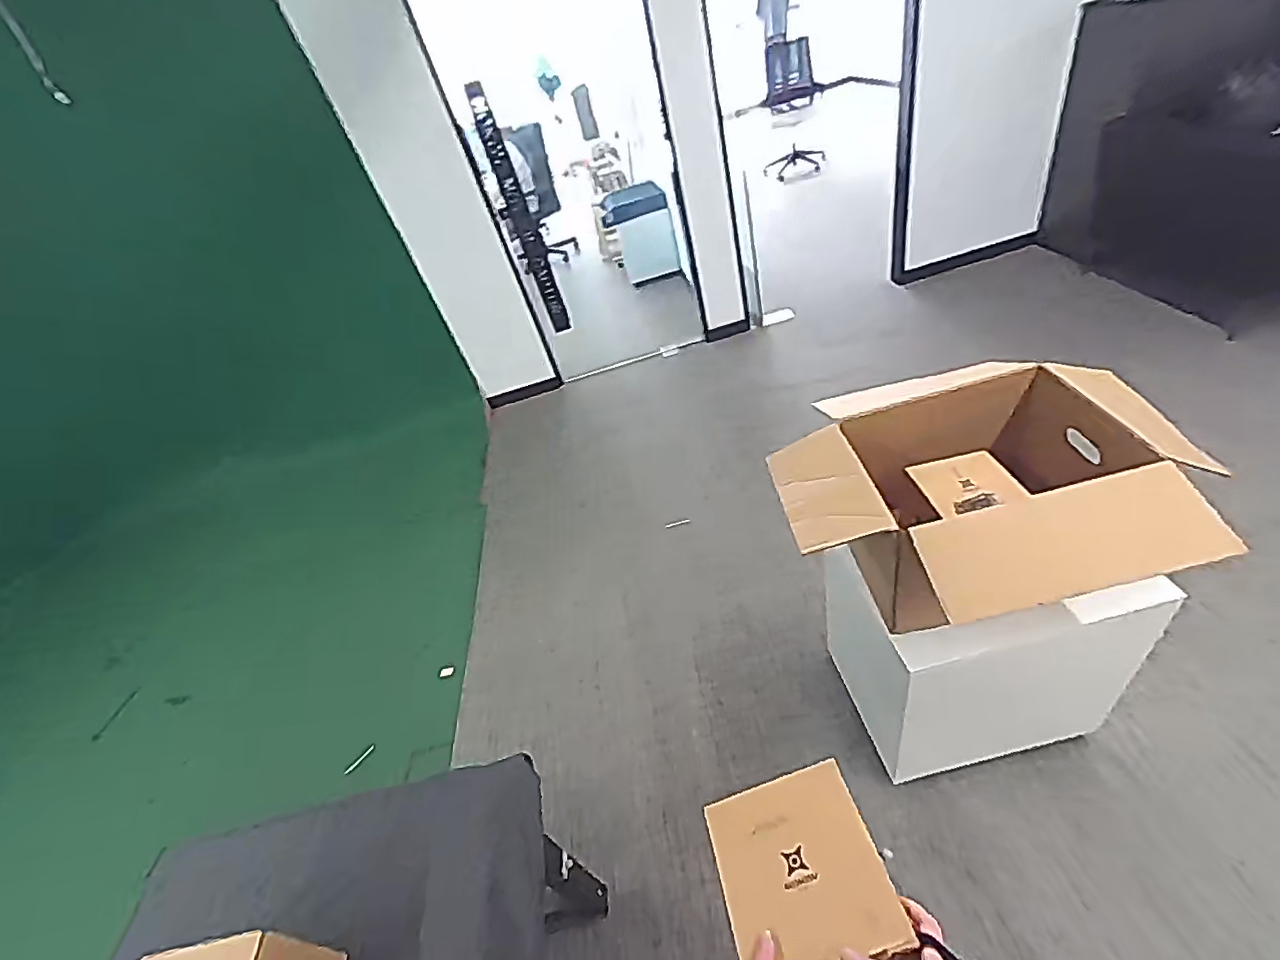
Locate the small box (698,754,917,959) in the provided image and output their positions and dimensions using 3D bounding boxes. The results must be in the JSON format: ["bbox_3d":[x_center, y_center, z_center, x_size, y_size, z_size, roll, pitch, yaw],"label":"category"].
[{"bbox_3d":[0.183,0.451,0.597,0.168,0.176,0.179,-22,30,5],"label":"small box"}]

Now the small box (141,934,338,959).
[{"bbox_3d":[-0.505,0.678,0.649,0.179,0.176,0.168,-14,40,3],"label":"small box"}]
